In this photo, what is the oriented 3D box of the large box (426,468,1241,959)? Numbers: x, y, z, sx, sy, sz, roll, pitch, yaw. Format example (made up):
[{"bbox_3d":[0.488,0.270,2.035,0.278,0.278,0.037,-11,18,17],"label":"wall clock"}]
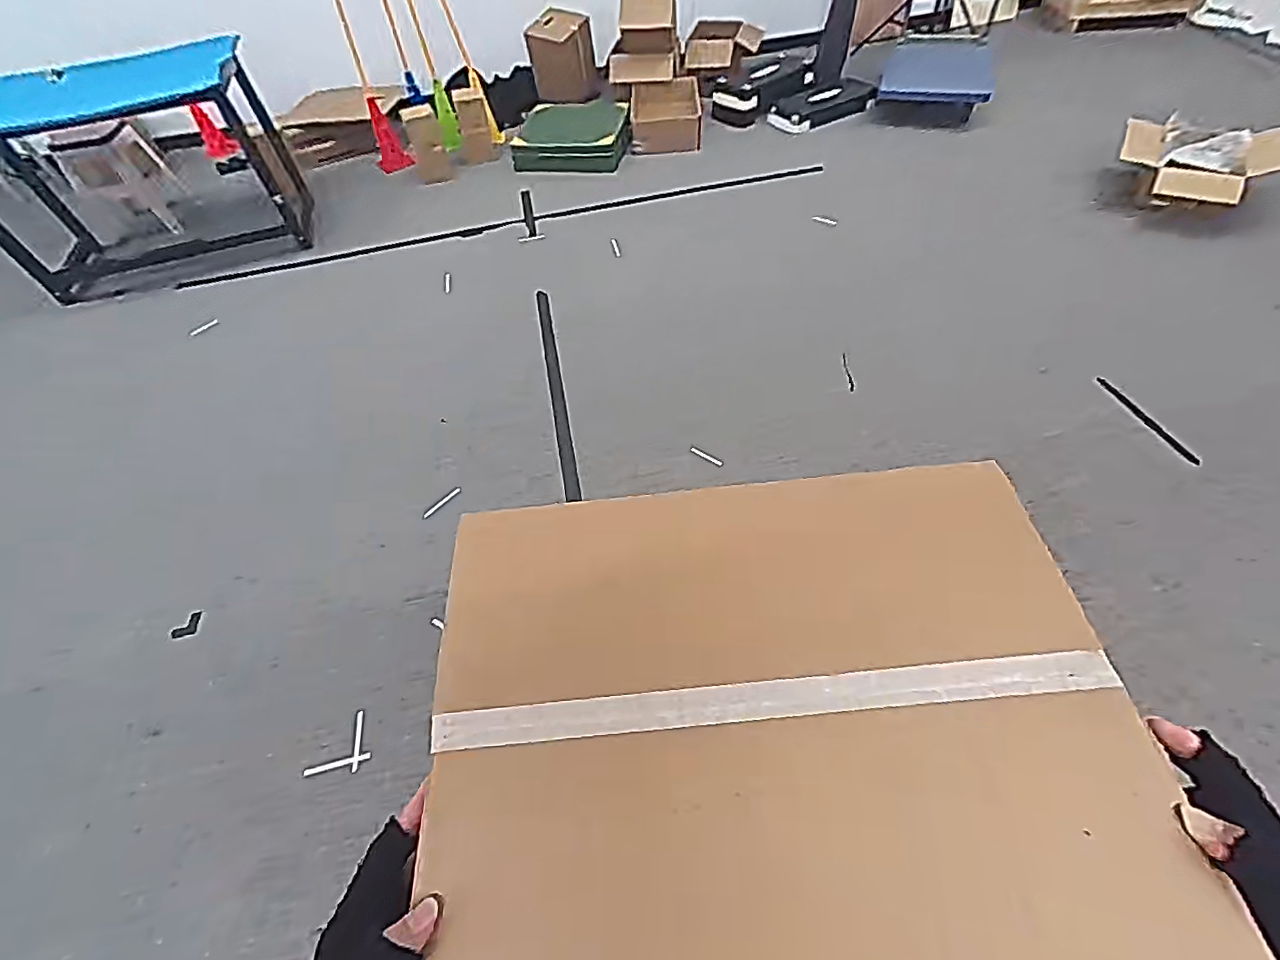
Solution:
[{"bbox_3d":[0.086,0.223,0.458,0.408,0.320,0.320,-6,56,1],"label":"large box"}]
